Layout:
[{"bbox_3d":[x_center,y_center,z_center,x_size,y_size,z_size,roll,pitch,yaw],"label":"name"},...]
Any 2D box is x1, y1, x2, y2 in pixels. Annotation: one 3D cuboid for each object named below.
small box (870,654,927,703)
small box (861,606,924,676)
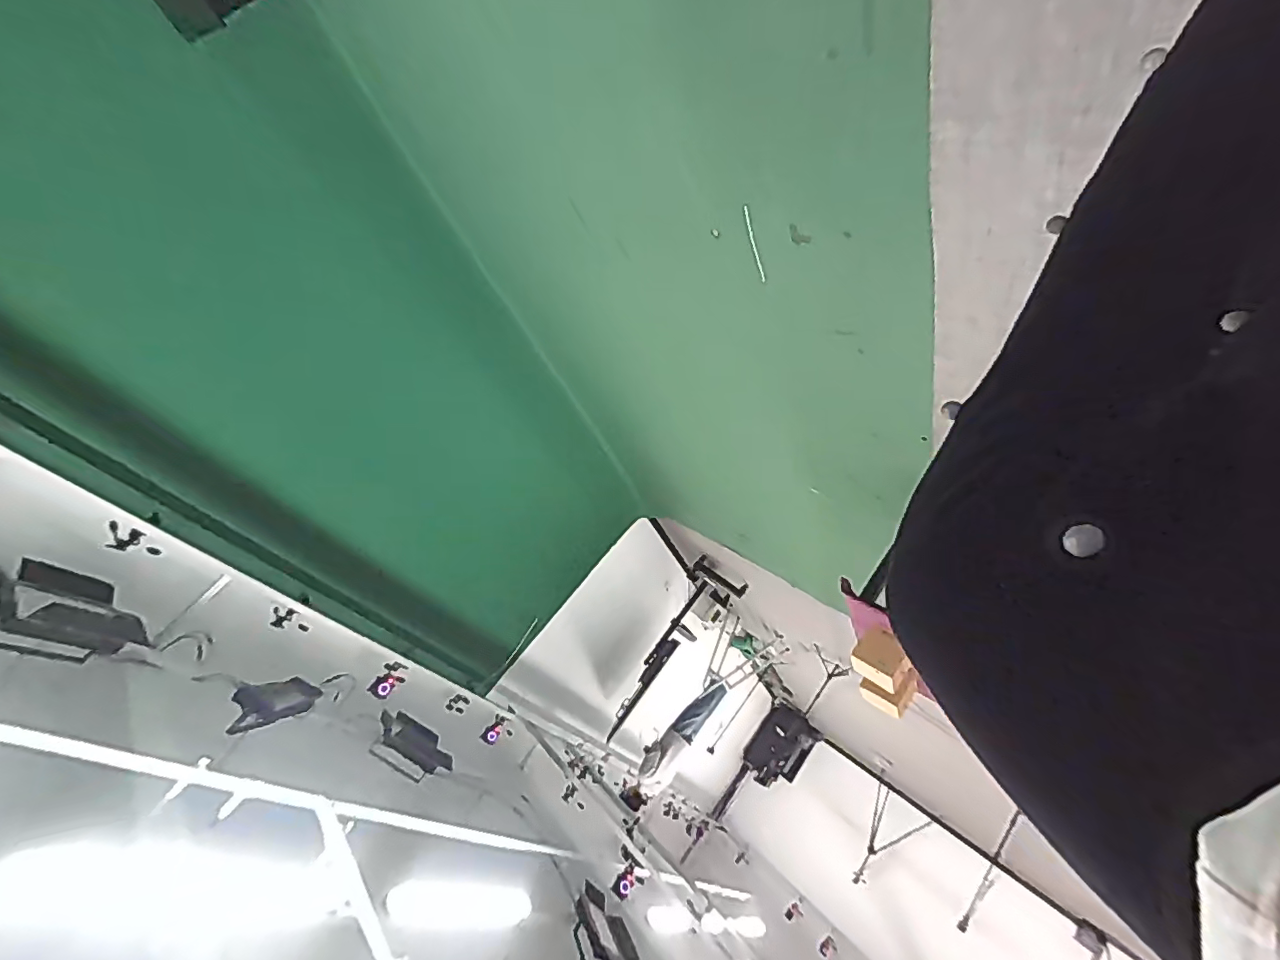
[{"bbox_3d":[1.130,0.831,2.355,0.168,0.176,0.179,23,157,42],"label":"small box"},{"bbox_3d":[0.986,0.625,2.104,0.168,0.176,0.179,26,159,40],"label":"small box"}]
